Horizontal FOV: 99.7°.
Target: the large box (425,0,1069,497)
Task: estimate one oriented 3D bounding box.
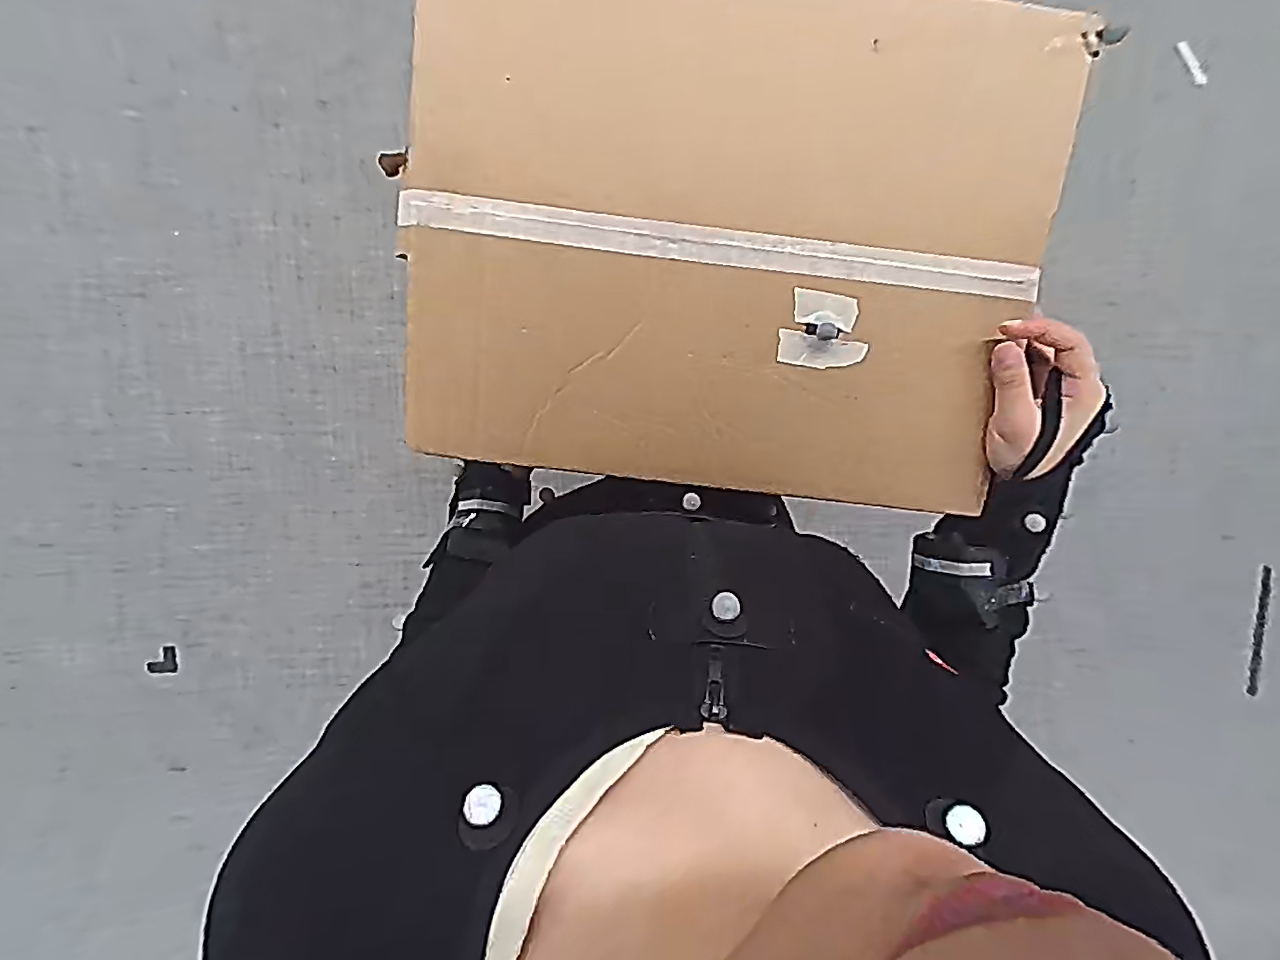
[{"bbox_3d":[0.054,-0.179,0.502,0.408,0.320,0.320,5,102,-3],"label":"large box"}]
